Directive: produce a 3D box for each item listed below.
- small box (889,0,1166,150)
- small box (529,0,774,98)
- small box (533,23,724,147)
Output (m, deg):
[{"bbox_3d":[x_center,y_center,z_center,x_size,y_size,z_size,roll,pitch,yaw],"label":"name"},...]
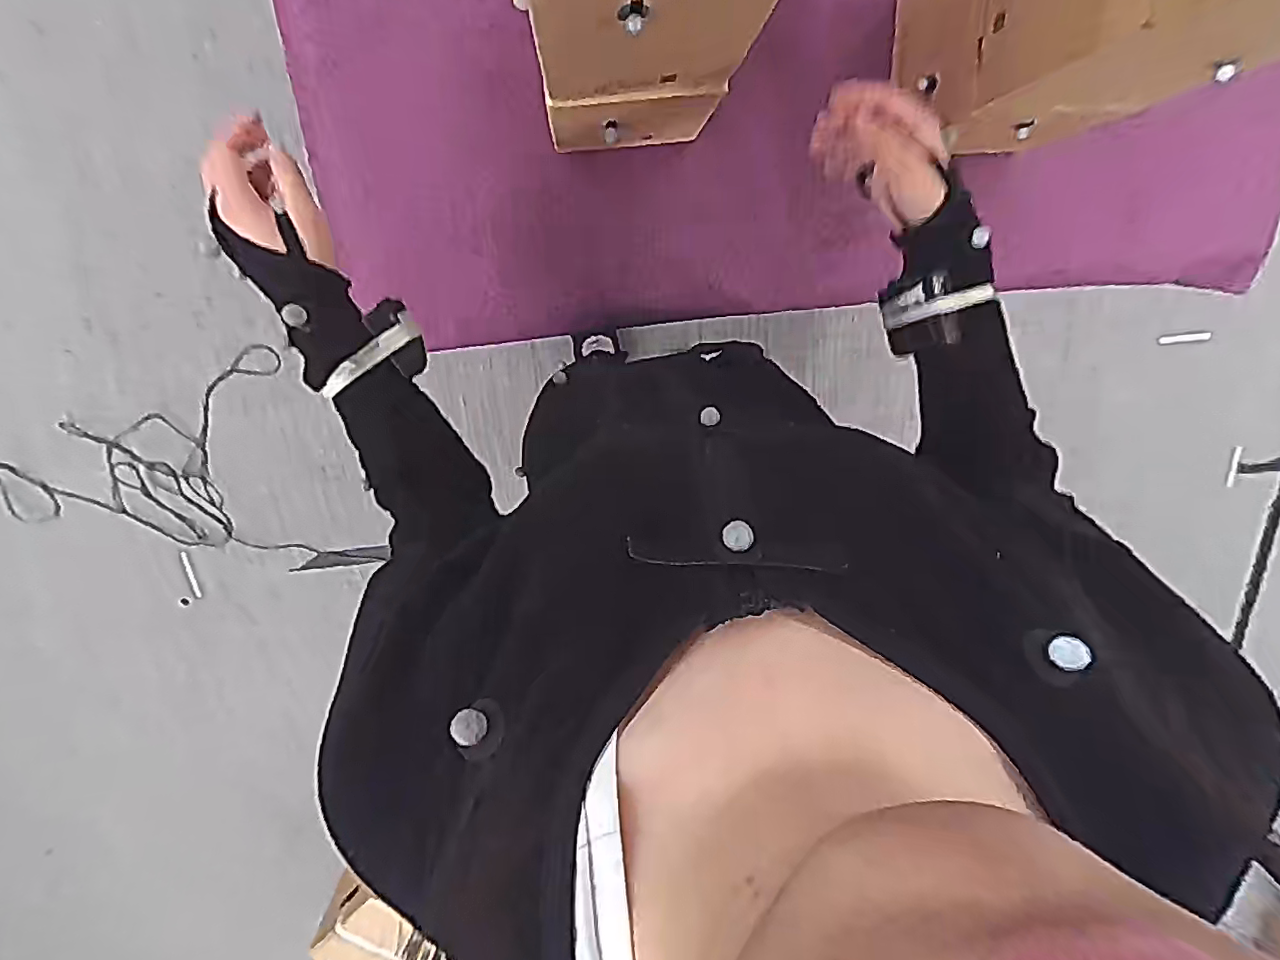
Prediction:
[{"bbox_3d":[0.385,-0.457,0.560,0.179,0.176,0.168,-5,109,-4],"label":"small box"},{"bbox_3d":[-0.004,-0.403,0.372,0.168,0.176,0.179,-9,107,-2],"label":"small box"},{"bbox_3d":[-0.017,-0.446,0.530,0.168,0.176,0.179,-7,108,-2],"label":"small box"}]
